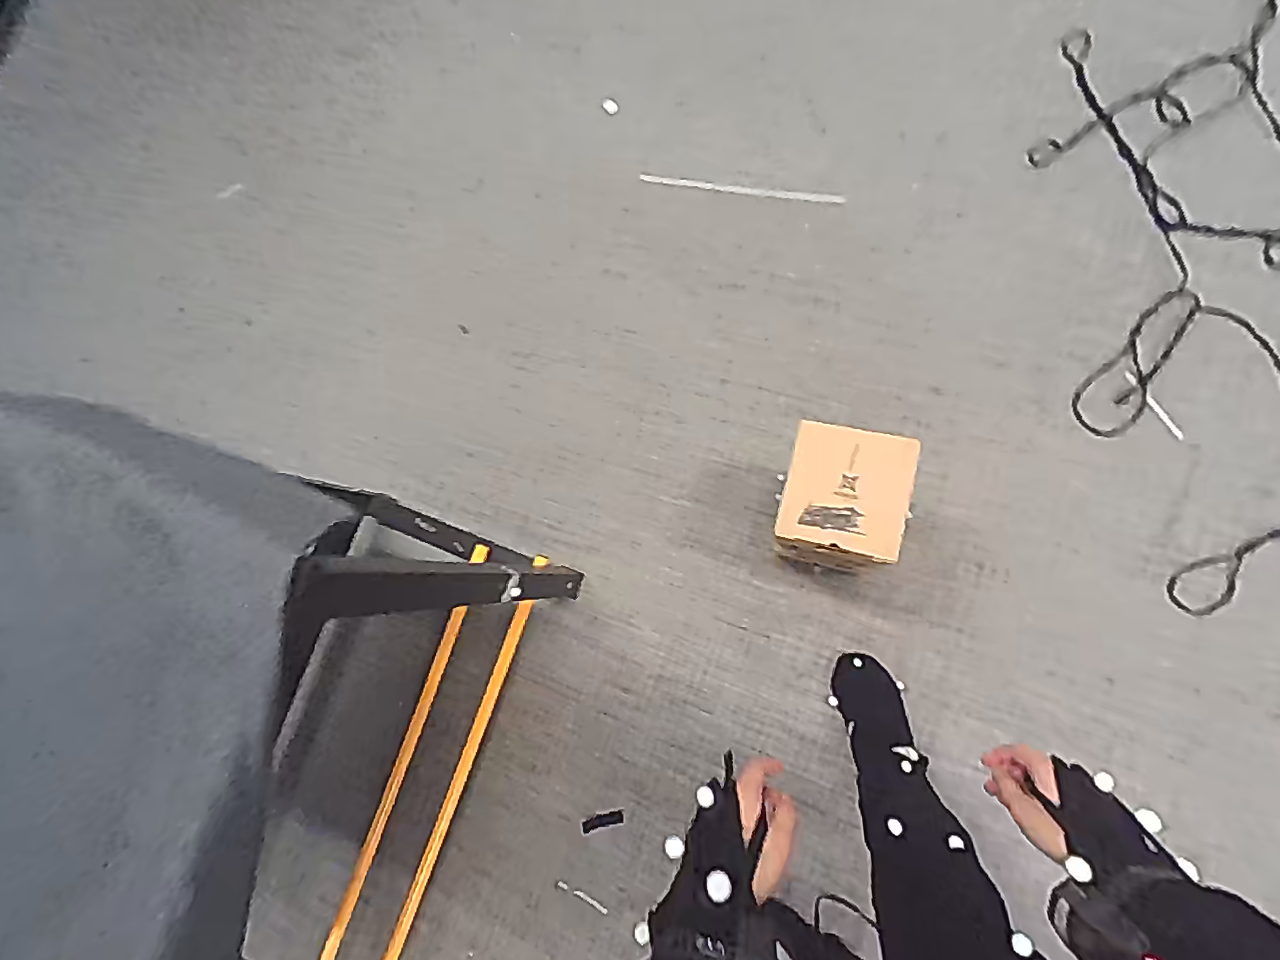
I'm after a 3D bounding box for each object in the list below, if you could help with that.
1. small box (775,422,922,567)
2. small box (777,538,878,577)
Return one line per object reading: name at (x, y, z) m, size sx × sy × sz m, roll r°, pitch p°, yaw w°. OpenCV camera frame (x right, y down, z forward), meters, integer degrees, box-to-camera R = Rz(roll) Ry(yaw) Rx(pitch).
small box at (0.311, 0.030, 0.829) m, size 0.168 × 0.176 × 0.179 m, roll 13°, pitch 82°, yaw 17°
small box at (0.349, 0.071, 0.984) m, size 0.168 × 0.176 × 0.179 m, roll 12°, pitch 83°, yaw 18°
